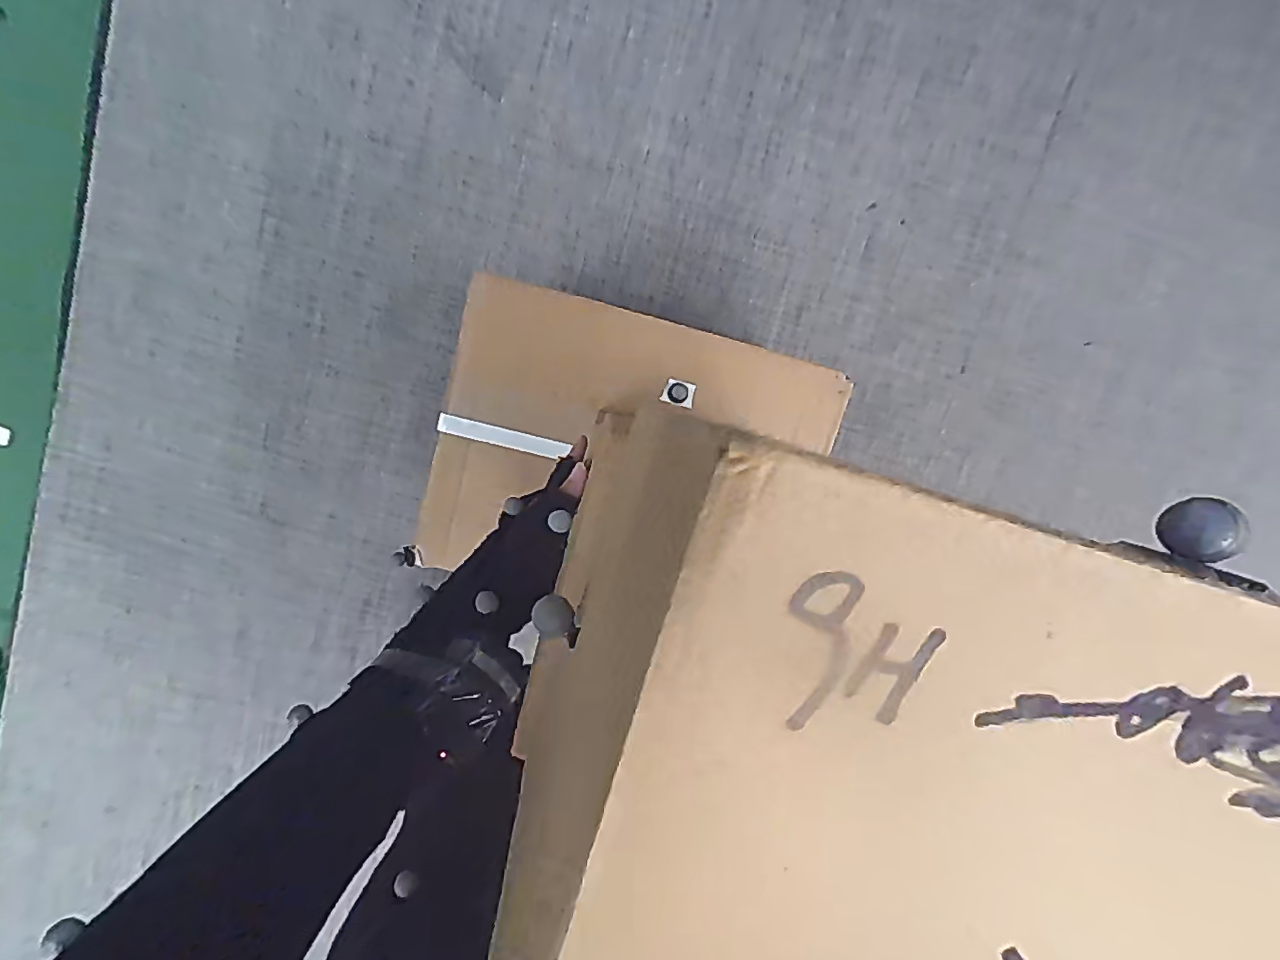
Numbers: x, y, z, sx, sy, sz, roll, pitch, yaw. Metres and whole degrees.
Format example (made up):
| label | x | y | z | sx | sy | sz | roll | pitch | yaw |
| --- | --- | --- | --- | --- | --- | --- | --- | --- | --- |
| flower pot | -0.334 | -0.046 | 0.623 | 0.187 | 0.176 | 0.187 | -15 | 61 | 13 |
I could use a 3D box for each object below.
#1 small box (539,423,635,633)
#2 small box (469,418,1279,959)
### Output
| label | x | y | z | sx | sy | sz | roll | pitch | yaw |
| --- | --- | --- | --- | --- | --- | --- | --- | --- | --- |
| small box | 0.018 | 0.048 | 0.500 | 0.179 | 0.176 | 0.168 | 15 | 99 | -8 |
| small box | 0.051 | 0.089 | 0.176 | 0.168 | 0.176 | 0.179 | 17 | 98 | -6 |
